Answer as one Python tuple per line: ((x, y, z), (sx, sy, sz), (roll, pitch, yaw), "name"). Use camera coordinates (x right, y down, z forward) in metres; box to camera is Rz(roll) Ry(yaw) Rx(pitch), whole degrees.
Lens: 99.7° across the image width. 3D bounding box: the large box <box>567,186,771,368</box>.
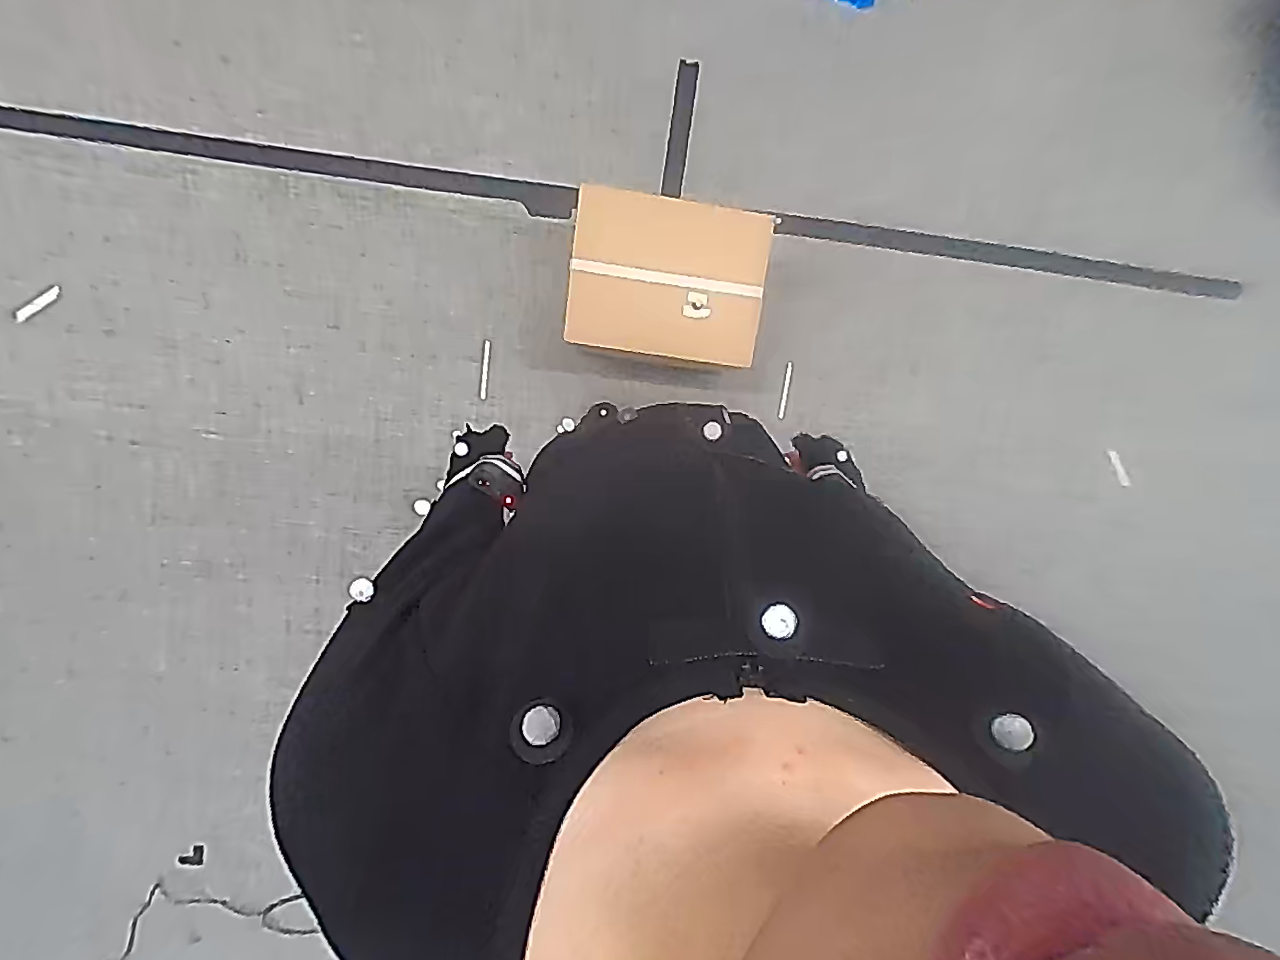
((0.046, -0.446, 1.268), (0.408, 0.320, 0.320), (6, 100, -6), "large box")
